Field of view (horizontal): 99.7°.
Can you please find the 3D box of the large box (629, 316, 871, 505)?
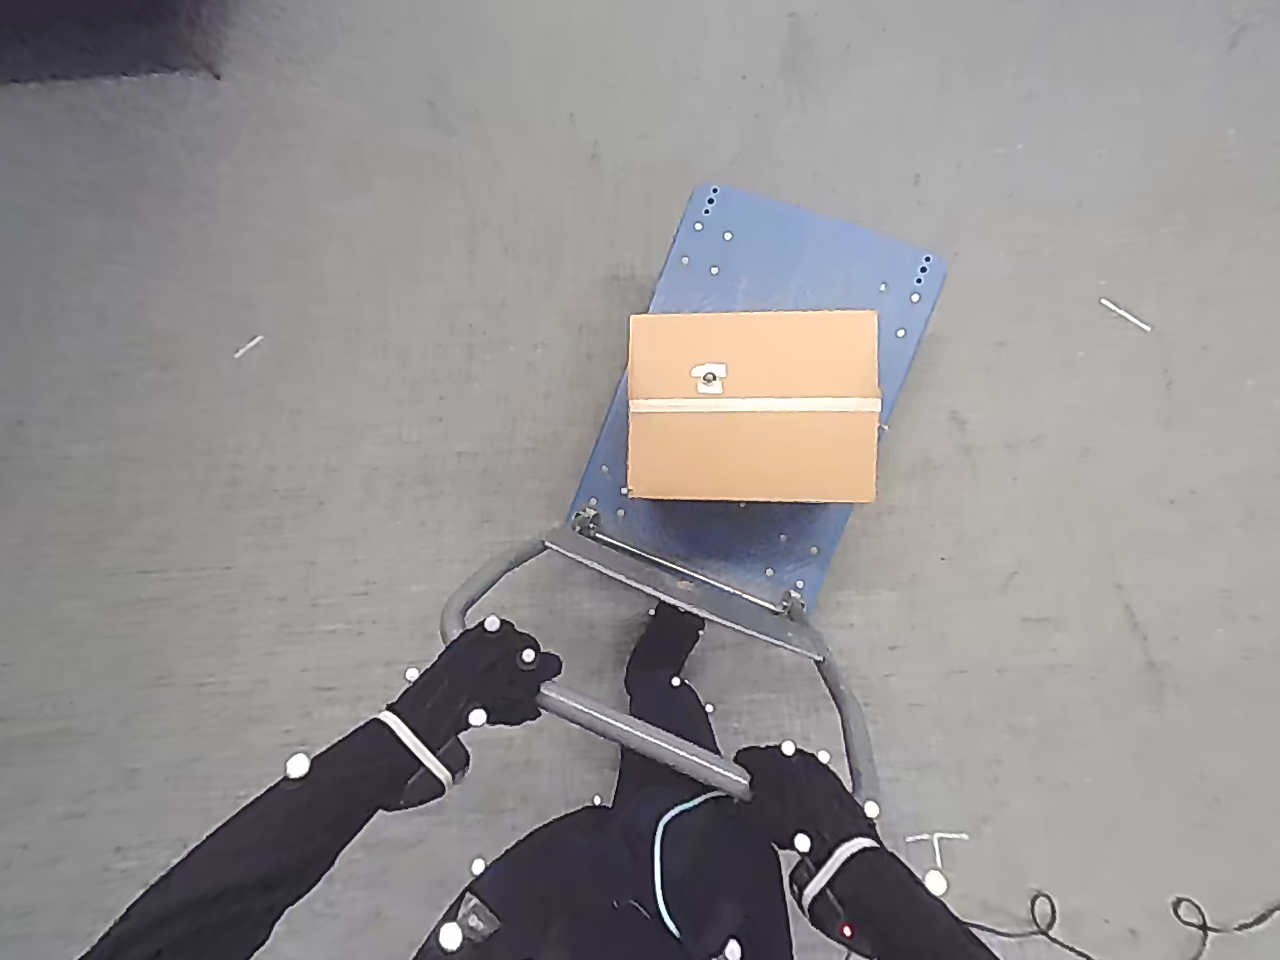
[{"bbox_3d":[0.201,-0.118,1.054,0.408,0.320,0.320,1,90,8],"label":"large box"}]
